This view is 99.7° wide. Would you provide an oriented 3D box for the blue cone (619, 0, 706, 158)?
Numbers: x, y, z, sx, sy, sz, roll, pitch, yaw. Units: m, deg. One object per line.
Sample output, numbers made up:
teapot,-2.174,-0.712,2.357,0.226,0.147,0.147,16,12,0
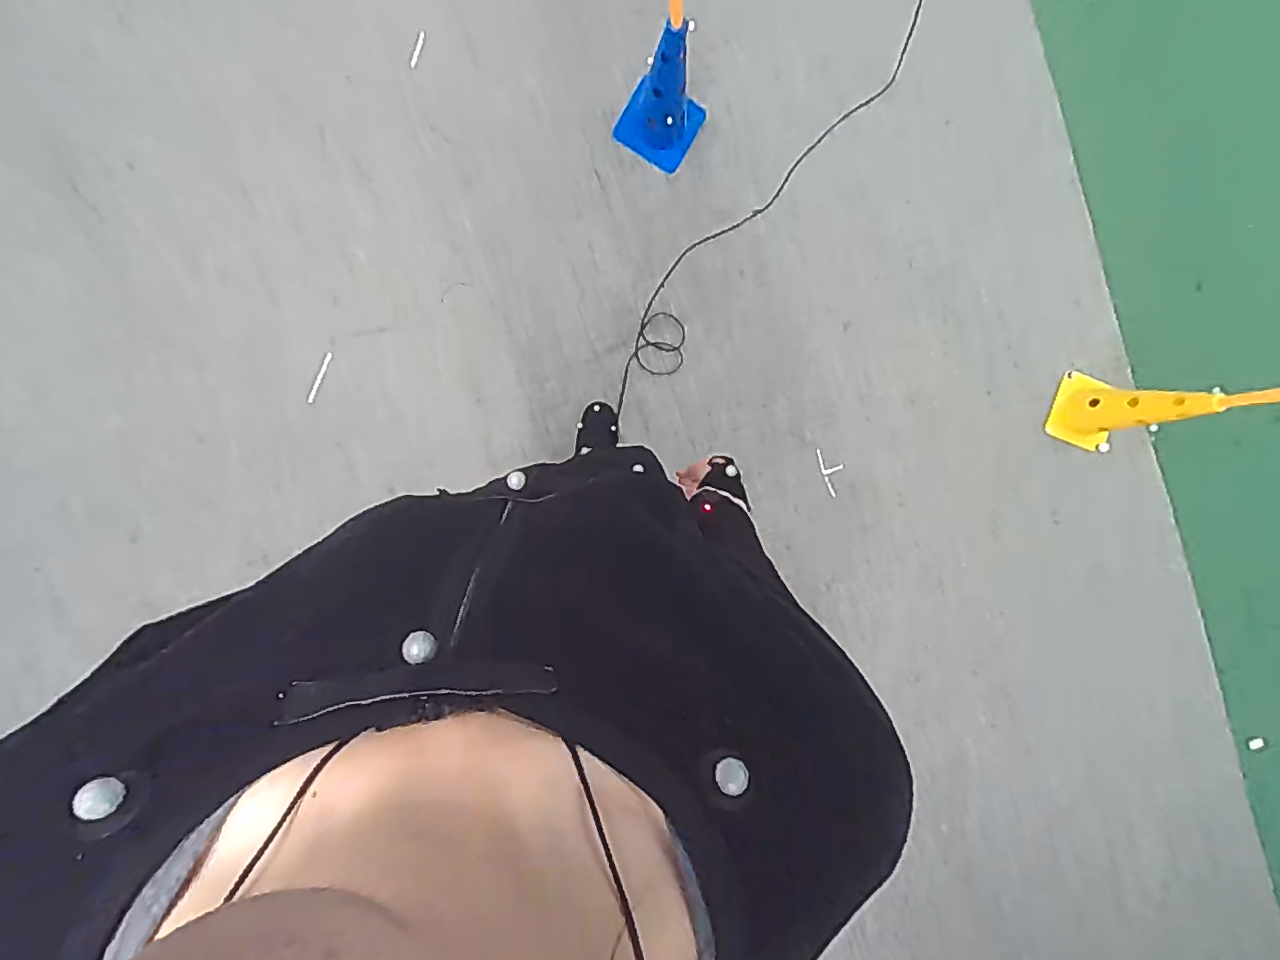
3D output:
blue cone,0.067,-0.954,1.261,0.193,0.380,0.192,29,92,-5
